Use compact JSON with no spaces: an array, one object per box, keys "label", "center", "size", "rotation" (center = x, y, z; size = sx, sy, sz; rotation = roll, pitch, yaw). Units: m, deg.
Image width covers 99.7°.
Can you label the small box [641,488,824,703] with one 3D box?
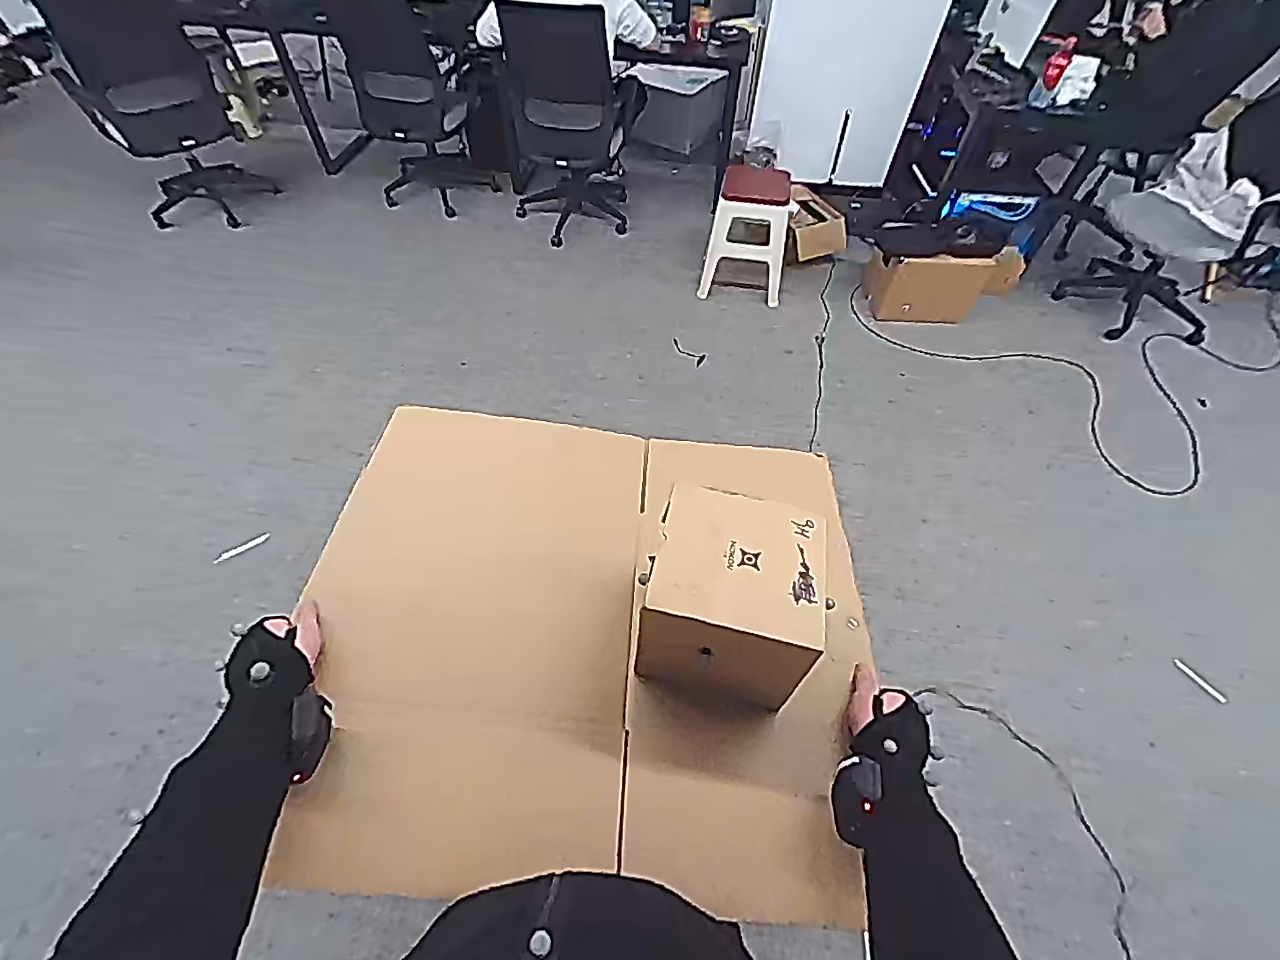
[{"label":"small box","center":[0.101,0.137,0.626],"size":[0.179,0.176,0.168],"rotation":[11,50,7]}]
